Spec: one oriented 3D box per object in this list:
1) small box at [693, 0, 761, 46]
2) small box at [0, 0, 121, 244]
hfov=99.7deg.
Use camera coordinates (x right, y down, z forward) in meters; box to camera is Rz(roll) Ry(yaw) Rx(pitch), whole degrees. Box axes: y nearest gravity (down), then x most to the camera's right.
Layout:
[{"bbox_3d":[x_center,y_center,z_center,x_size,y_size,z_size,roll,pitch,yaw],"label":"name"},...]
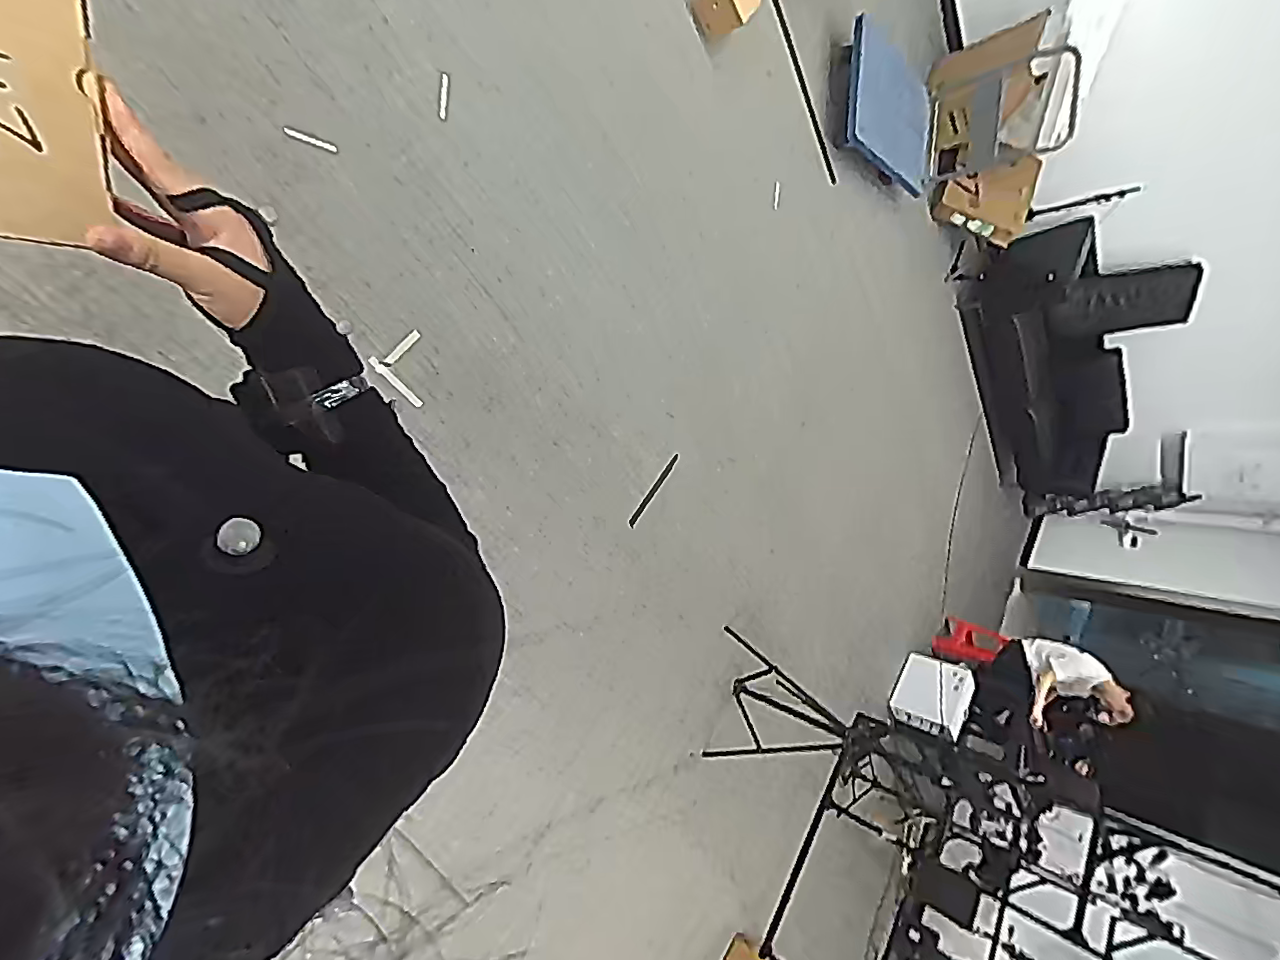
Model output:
[{"bbox_3d":[0.328,-1.826,2.073,0.168,0.176,0.179,46,64,-36],"label":"small box"},{"bbox_3d":[-0.400,-0.227,0.280,0.179,0.176,0.168,-9,115,-44],"label":"small box"}]
